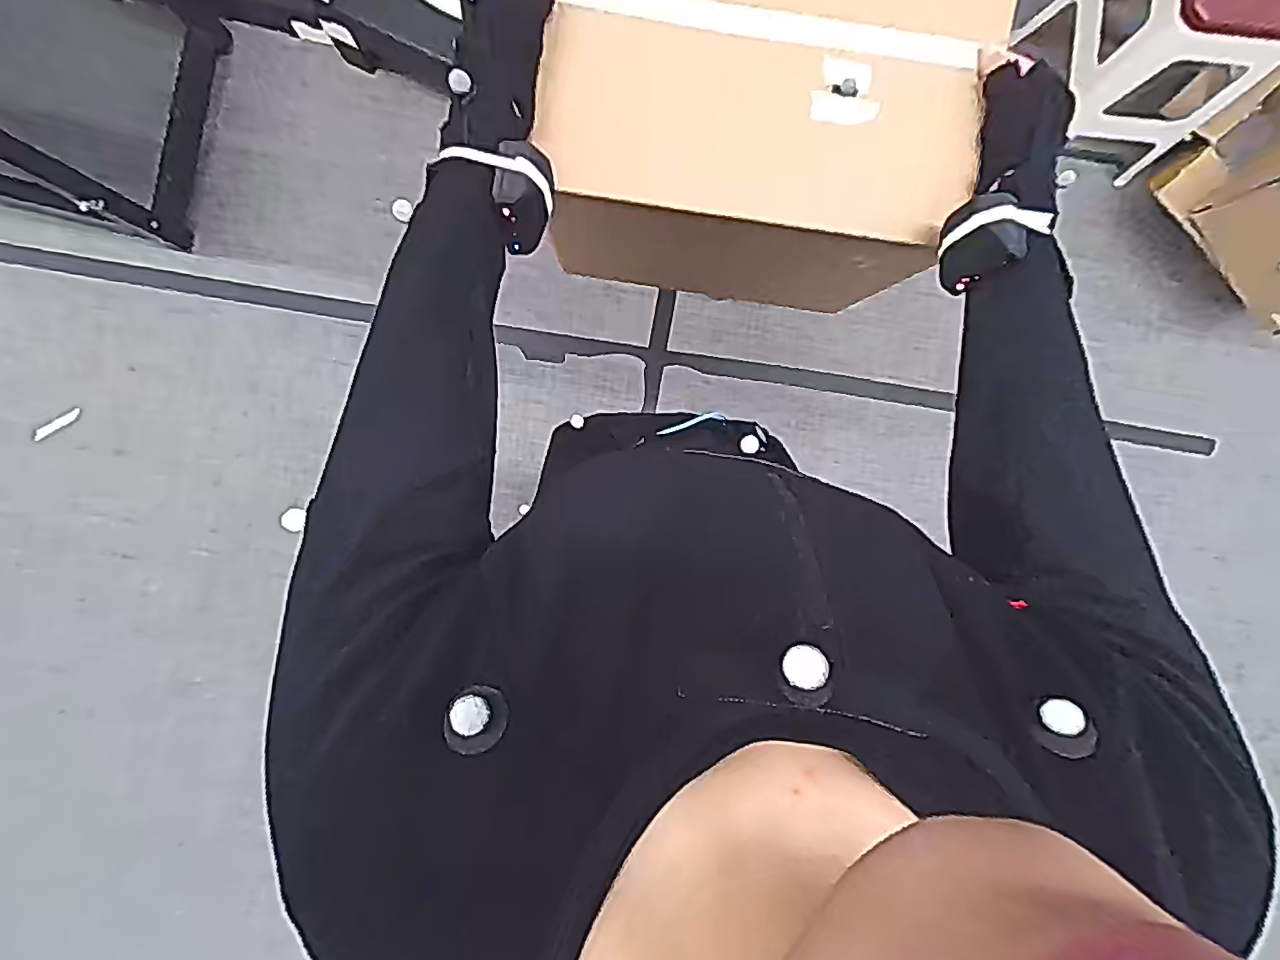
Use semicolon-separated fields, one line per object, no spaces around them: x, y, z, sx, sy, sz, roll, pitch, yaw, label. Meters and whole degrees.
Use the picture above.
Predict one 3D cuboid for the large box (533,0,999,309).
0.108;-0.406;0.627;0.408;0.320;0.320;7;97;-3;large box
